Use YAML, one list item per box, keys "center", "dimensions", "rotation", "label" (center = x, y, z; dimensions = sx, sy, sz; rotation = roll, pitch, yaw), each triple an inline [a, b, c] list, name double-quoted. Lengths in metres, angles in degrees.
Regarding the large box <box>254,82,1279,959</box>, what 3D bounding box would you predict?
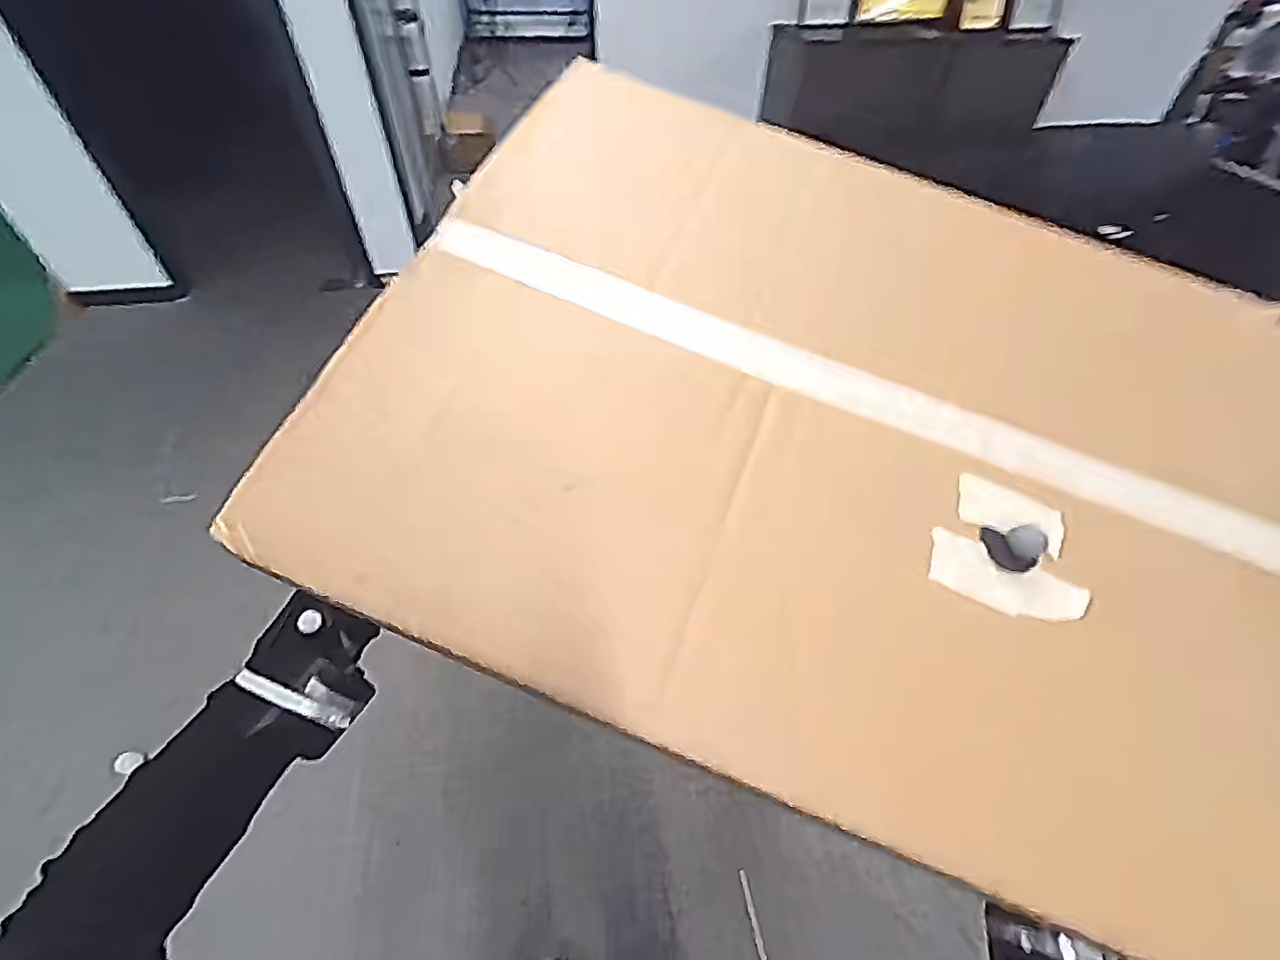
- center: [0.075, 0.021, 0.384]
  dimensions: [0.408, 0.320, 0.320]
  rotation: [22, 67, 3]
  label: "large box"
